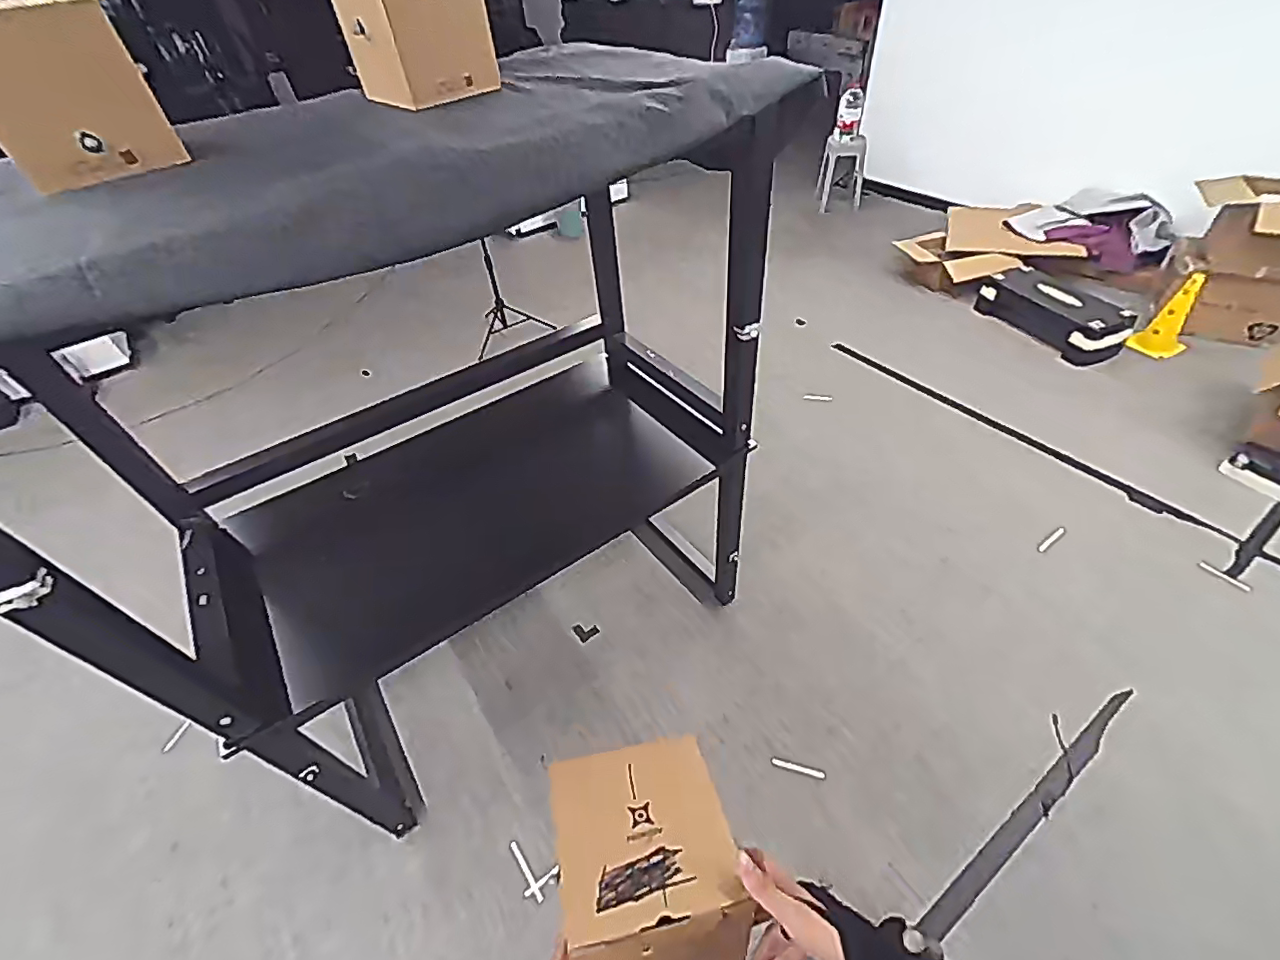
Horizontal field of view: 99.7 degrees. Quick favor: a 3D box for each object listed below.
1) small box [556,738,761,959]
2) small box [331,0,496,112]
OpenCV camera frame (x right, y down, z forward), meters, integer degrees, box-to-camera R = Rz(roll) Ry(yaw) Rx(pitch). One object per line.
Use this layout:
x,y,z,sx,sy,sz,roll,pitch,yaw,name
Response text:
0.009,0.412,0.560,0.168,0.176,0.179,-7,27,-13,small box
-0.357,-0.698,0.850,0.179,0.176,0.168,33,58,32,small box
